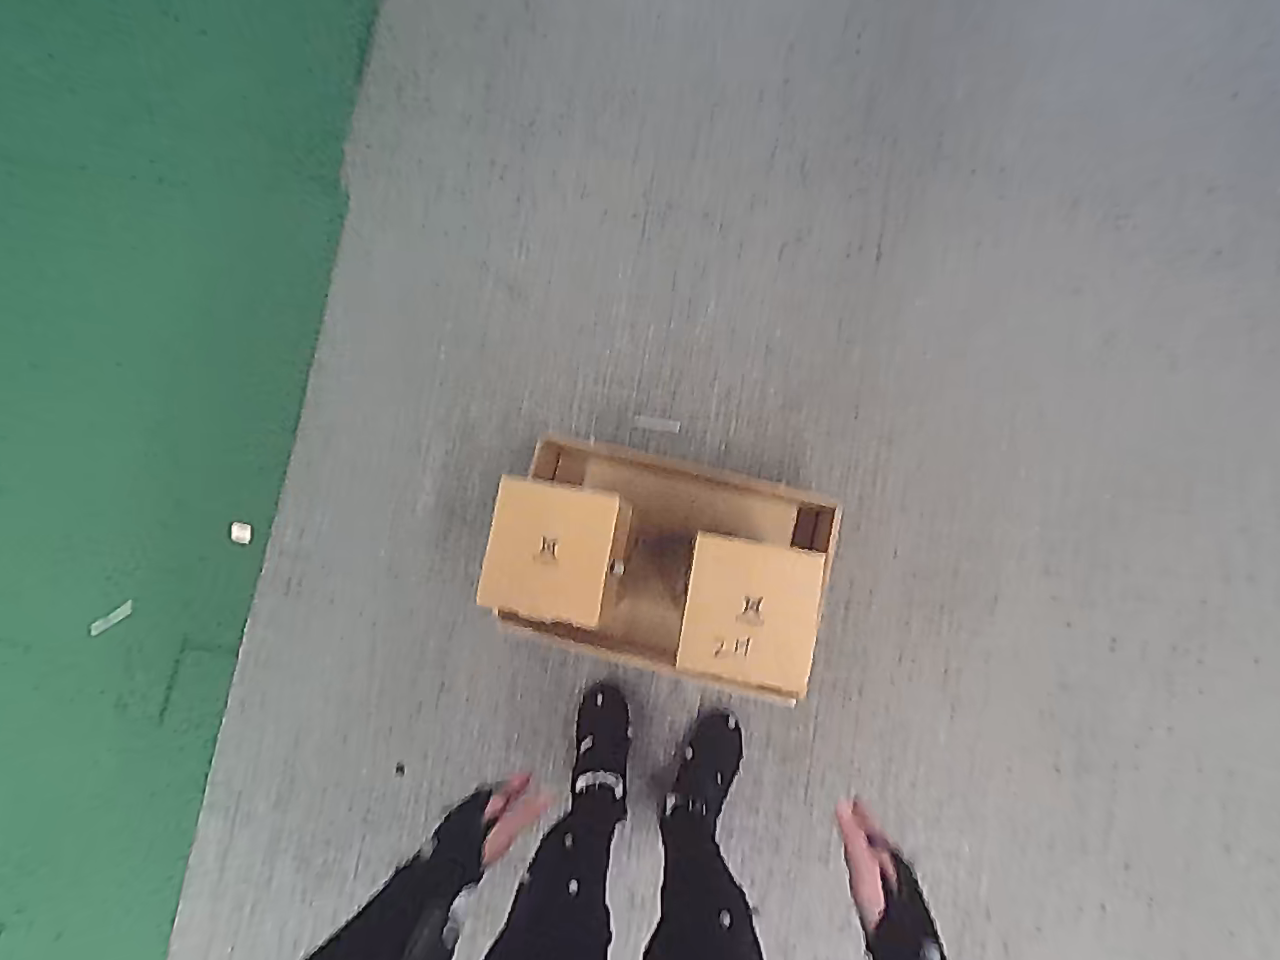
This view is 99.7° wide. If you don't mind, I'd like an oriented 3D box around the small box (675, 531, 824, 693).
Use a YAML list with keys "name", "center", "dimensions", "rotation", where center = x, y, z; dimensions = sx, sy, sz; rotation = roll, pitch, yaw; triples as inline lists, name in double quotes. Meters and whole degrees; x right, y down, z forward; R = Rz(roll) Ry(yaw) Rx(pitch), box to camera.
- name: "small box"
  center: [0.145, 0.175, 0.758]
  dimensions: [0.168, 0.176, 0.179]
  rotation: [9, 83, 7]

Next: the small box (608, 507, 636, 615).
- name: "small box"
  center: [-0.105, 0.130, 0.951]
  dimensions: [0.168, 0.176, 0.179]
  rotation: [10, 81, 7]

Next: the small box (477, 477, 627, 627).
- name: "small box"
  center: [-0.116, 0.104, 0.793]
  dimensions: [0.168, 0.176, 0.179]
  rotation: [9, 83, 5]
